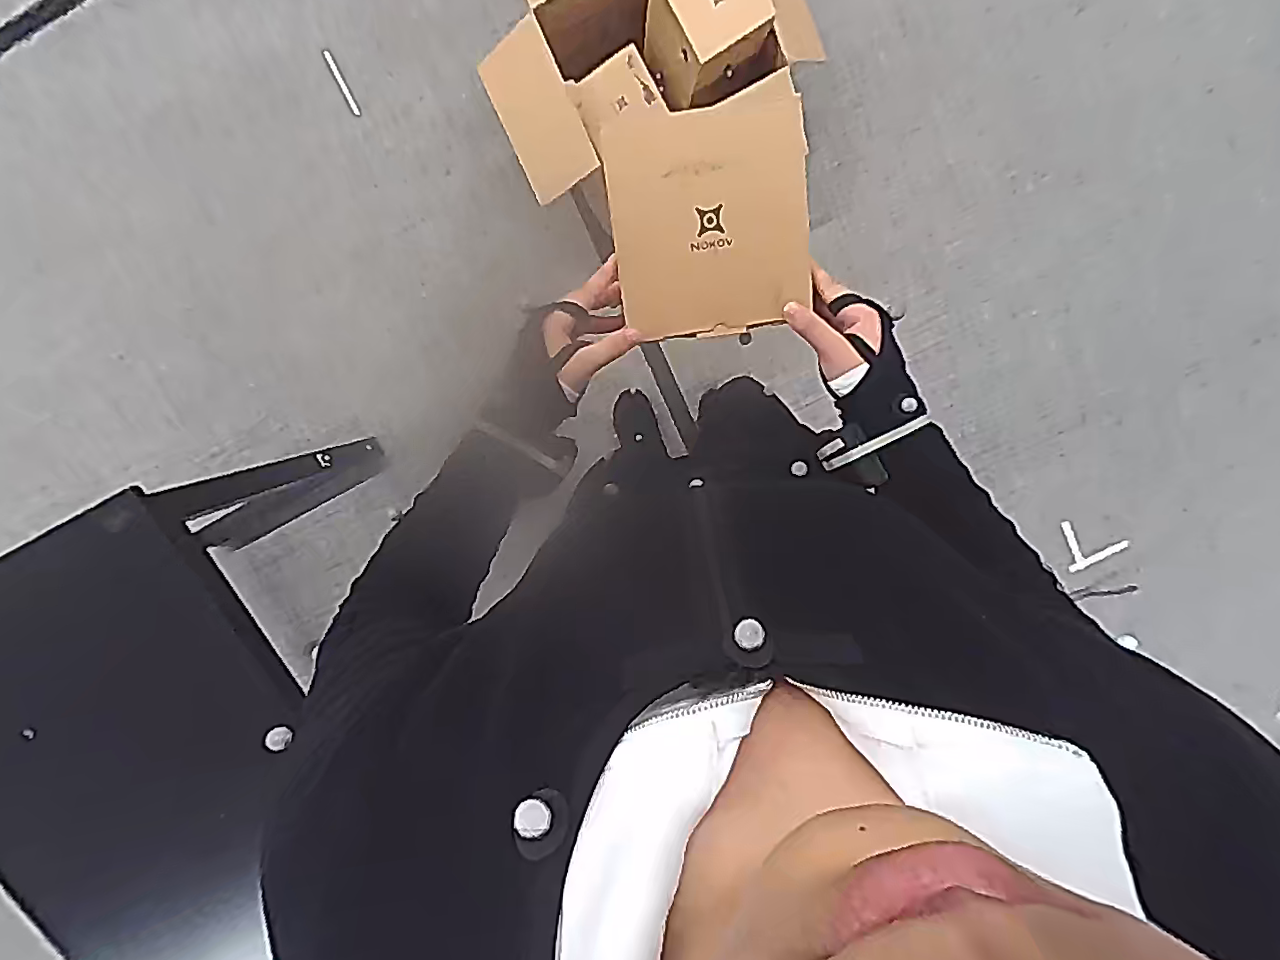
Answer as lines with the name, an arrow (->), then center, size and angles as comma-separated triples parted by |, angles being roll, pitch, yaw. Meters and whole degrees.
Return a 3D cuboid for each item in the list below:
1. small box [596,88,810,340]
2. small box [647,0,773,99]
small box -> 0.055, -0.237, 0.528 | 0.168, 0.176, 0.179 | -9, 104, 0
small box -> 0.127, -0.884, 1.047 | 0.168, 0.176, 0.179 | -32, 100, 2
